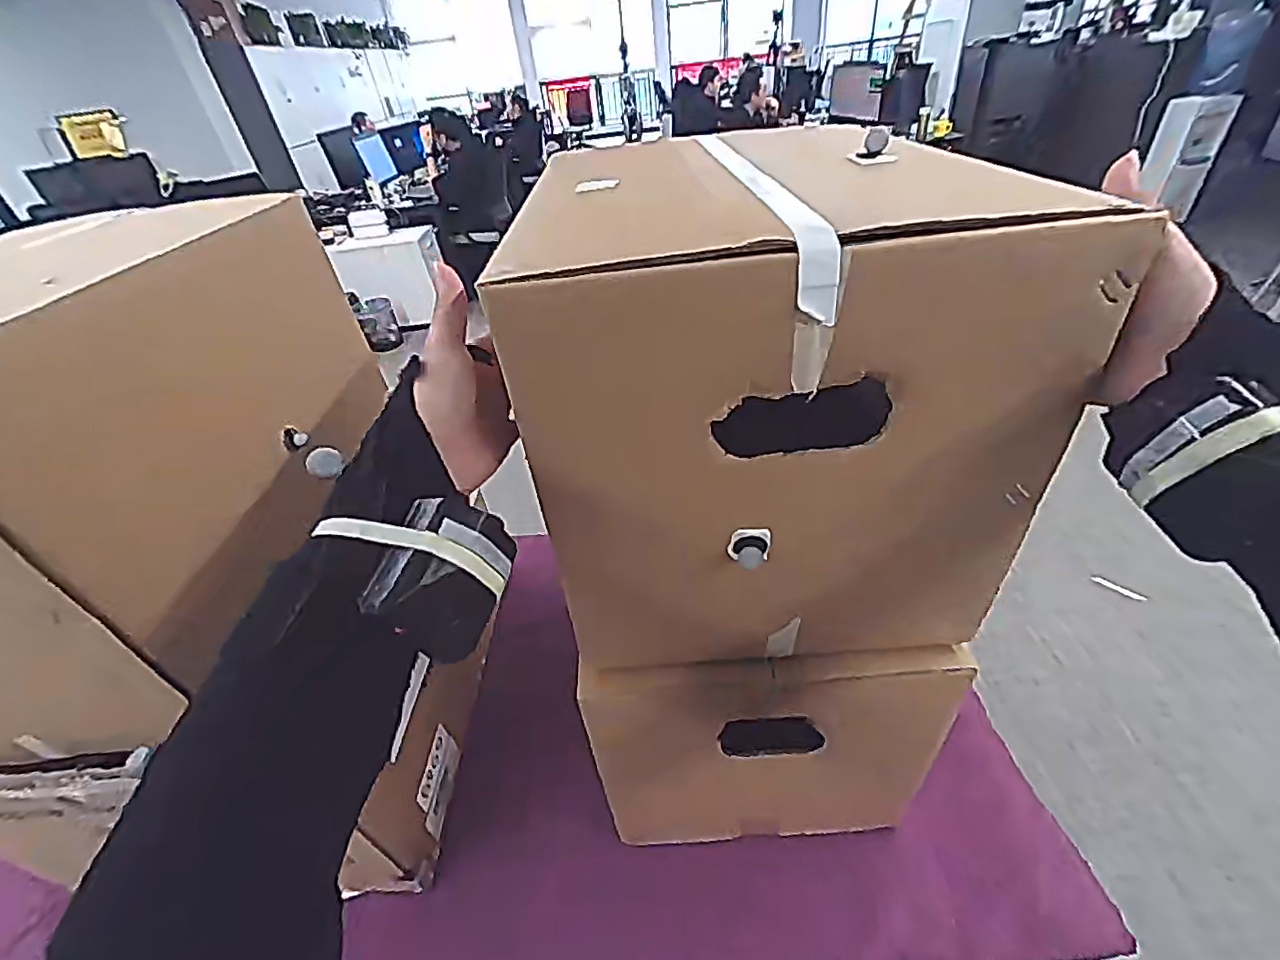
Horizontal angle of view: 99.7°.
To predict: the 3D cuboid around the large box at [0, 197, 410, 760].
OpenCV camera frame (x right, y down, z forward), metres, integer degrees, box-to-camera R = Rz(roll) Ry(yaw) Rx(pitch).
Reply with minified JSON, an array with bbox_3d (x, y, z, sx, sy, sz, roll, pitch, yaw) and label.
[{"bbox_3d":[-0.457,-0.026,0.484,0.320,0.320,0.408,-7,38,3],"label":"large box"}]
